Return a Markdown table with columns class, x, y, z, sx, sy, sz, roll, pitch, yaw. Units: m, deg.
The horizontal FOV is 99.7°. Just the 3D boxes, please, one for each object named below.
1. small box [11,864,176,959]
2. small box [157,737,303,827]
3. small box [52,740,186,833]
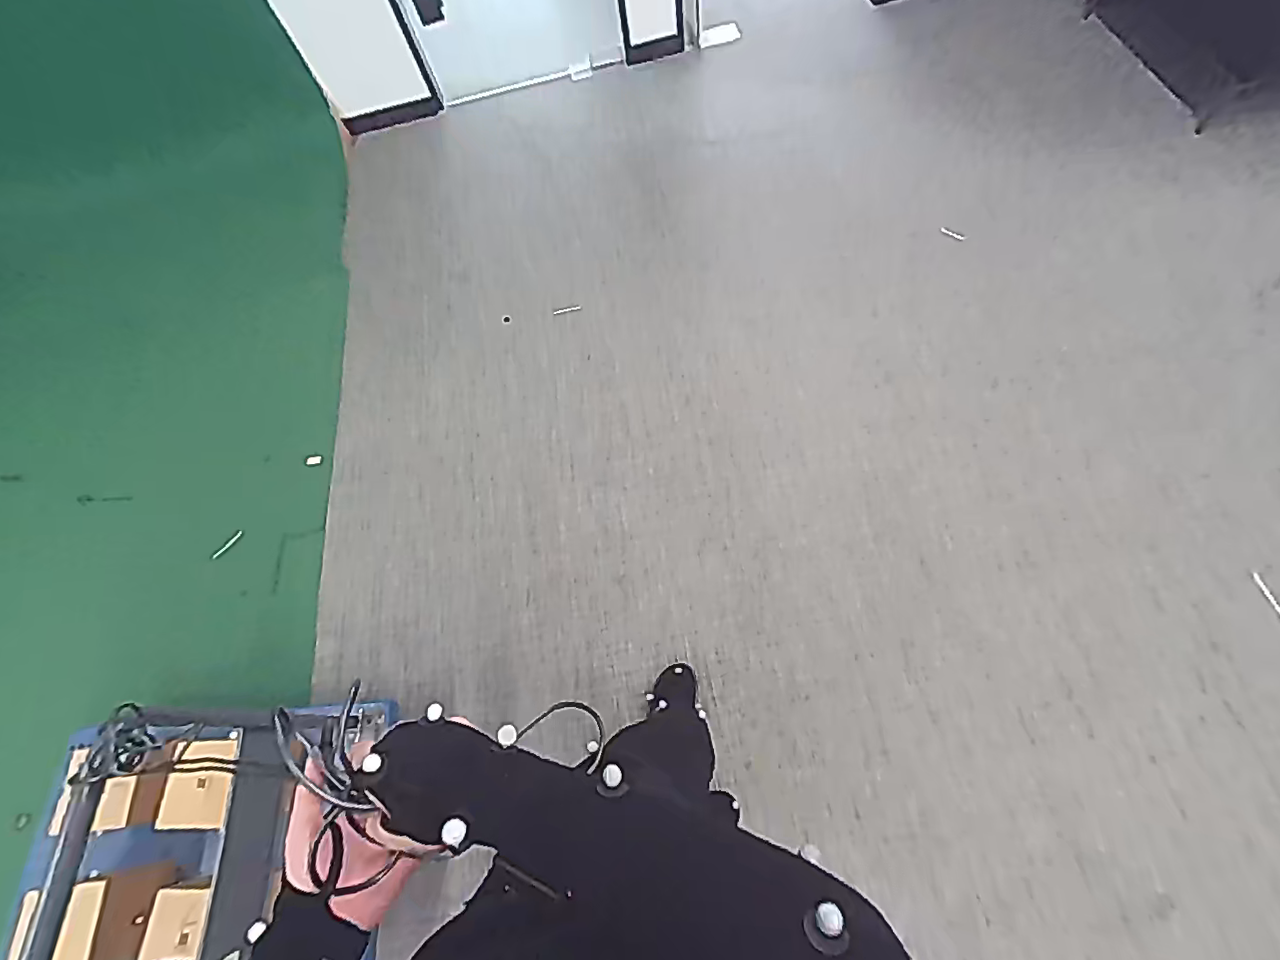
| class | x | y | z | sx | sy | sz | roll | pitch | yaw |
| --- | --- | --- | --- | --- | --- | --- | --- | --- | --- |
| small box | -1.138 | 0.929 | 1.136 | 0.179 | 0.176 | 0.168 | -10 | 64 | 3 |
| small box | -0.913 | 0.675 | 1.220 | 0.179 | 0.176 | 0.168 | -5 | 65 | 5 |
| small box | -1.157 | 0.698 | 1.243 | 0.179 | 0.176 | 0.168 | -8 | 66 | 3 |
